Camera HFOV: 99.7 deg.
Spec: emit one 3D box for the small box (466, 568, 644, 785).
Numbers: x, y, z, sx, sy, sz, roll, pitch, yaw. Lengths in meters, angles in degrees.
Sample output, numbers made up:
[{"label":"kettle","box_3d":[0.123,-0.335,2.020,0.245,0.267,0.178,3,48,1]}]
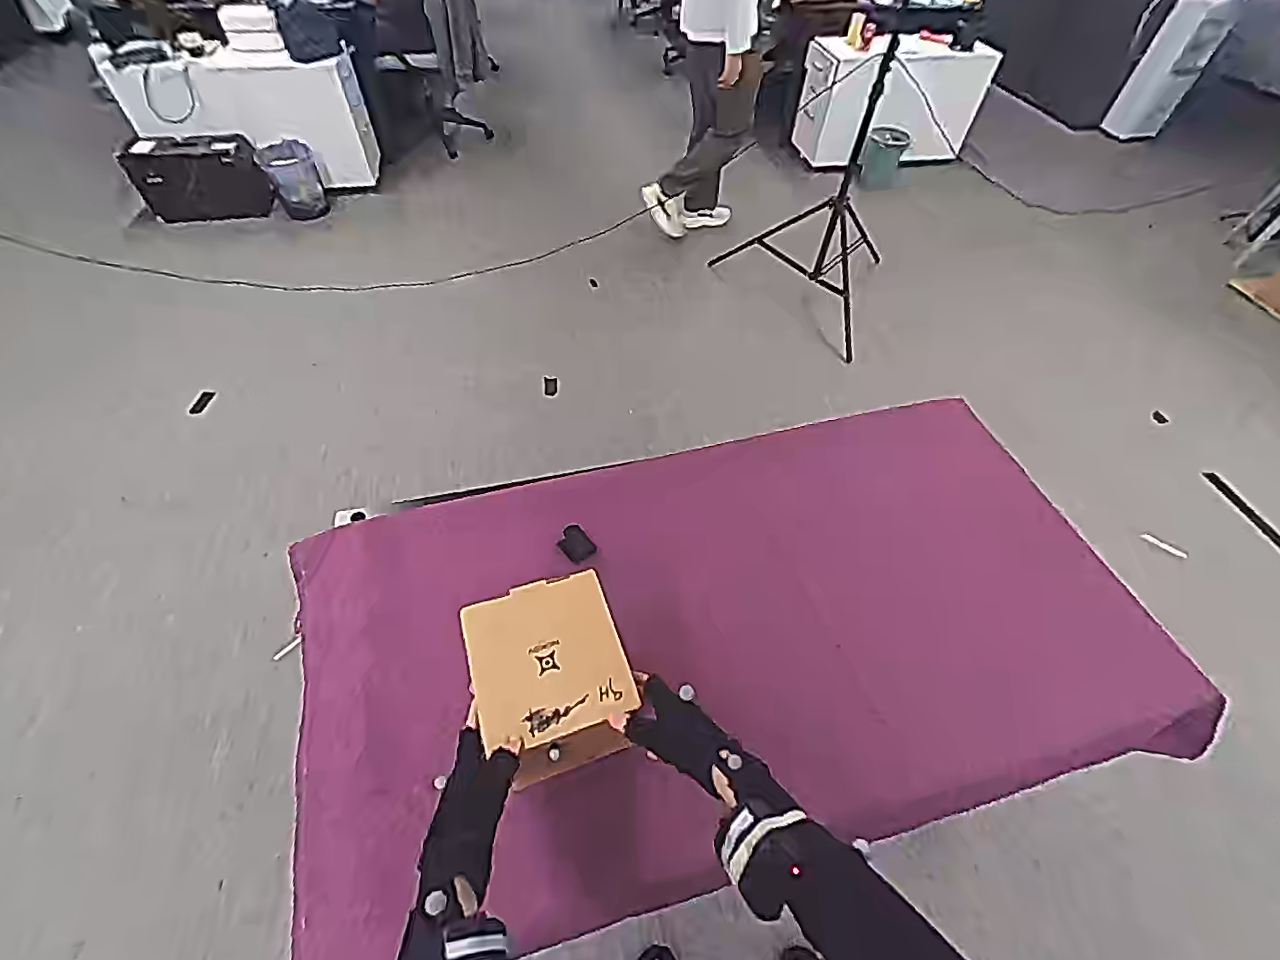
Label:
[{"label":"small box","box_3d":[-0.104,0.241,0.662,0.168,0.176,0.179,-15,53,-14]}]
